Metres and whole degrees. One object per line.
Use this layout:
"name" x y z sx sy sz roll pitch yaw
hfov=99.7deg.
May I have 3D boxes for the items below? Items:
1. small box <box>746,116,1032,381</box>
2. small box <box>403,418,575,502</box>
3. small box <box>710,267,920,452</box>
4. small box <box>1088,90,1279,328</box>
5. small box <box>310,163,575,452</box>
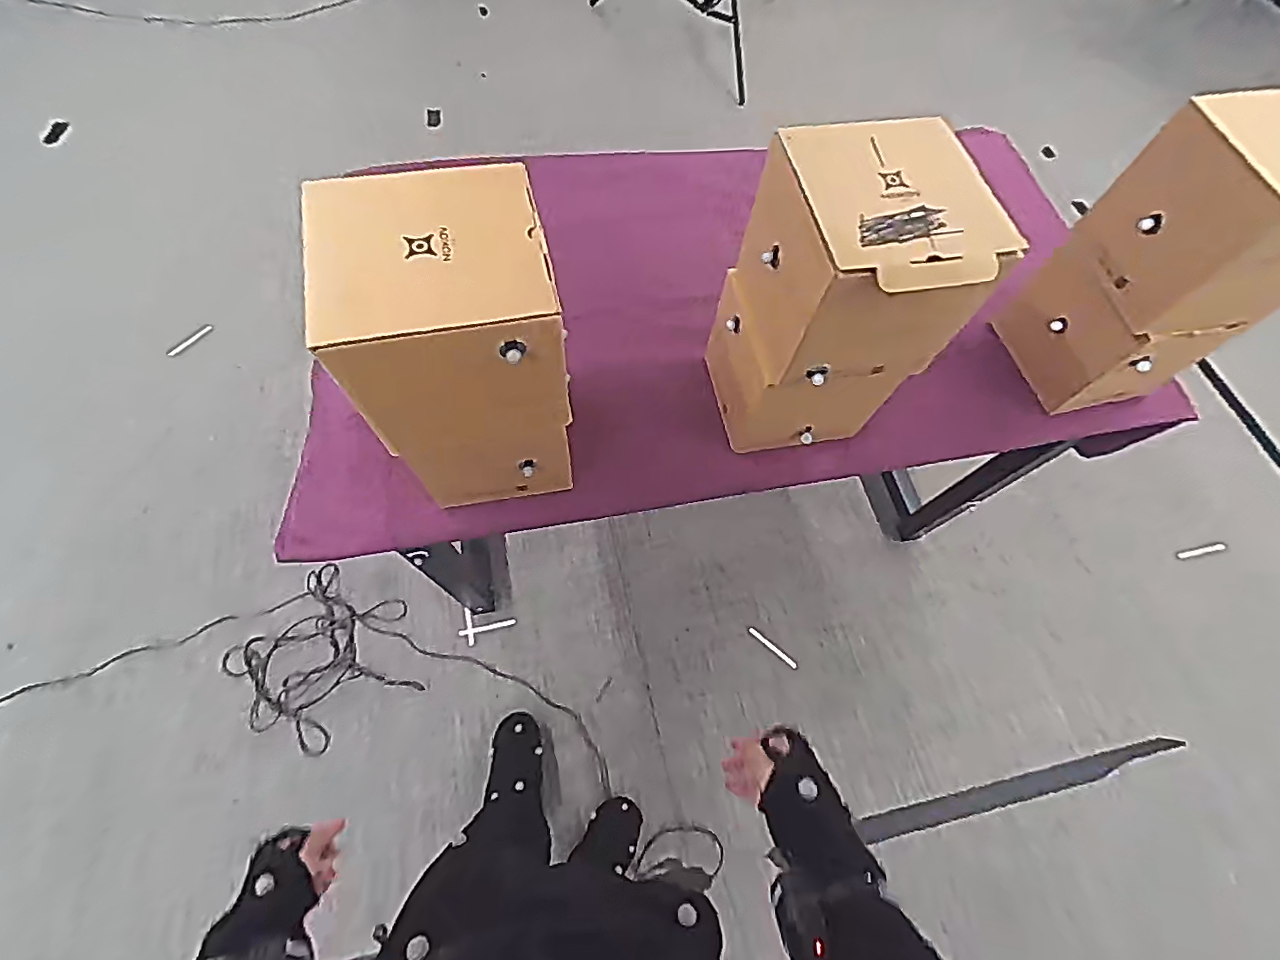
"small box" 0.217 -0.212 0.528 0.168 0.176 0.179 -8 67 -7
"small box" -0.169 -0.085 0.629 0.168 0.176 0.179 -8 66 -9
"small box" 0.203 -0.150 0.681 0.179 0.176 0.168 -9 67 -8
"small box" 0.645 -0.284 0.586 0.179 0.176 0.168 -8 67 -6
"small box" -0.159 -0.141 0.477 0.179 0.176 0.168 -12 68 -11
